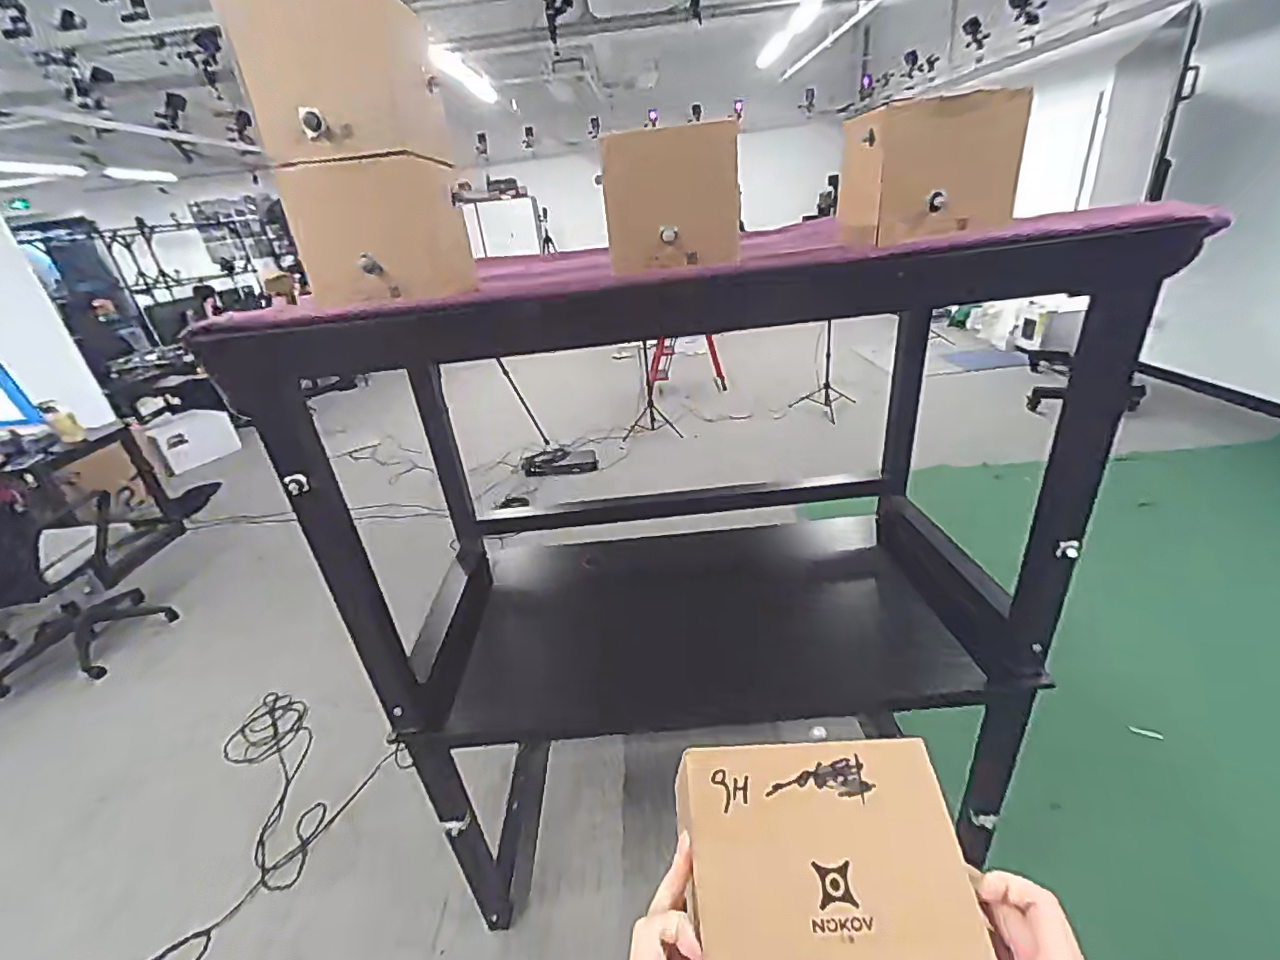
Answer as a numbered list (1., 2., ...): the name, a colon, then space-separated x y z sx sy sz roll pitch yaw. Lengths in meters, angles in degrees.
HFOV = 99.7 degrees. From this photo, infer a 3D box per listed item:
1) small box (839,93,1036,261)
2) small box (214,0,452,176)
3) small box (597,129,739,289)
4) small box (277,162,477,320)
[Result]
1. small box: 0.376 -0.396 0.724 0.168 0.176 0.179 -5 29 4
2. small box: -0.347 -0.462 0.656 0.168 0.176 0.179 -5 27 4
3. small box: 0.039 -0.361 0.732 0.168 0.176 0.179 -6 28 3
4. small box: -0.333 -0.317 0.729 0.168 0.176 0.179 -6 26 2
